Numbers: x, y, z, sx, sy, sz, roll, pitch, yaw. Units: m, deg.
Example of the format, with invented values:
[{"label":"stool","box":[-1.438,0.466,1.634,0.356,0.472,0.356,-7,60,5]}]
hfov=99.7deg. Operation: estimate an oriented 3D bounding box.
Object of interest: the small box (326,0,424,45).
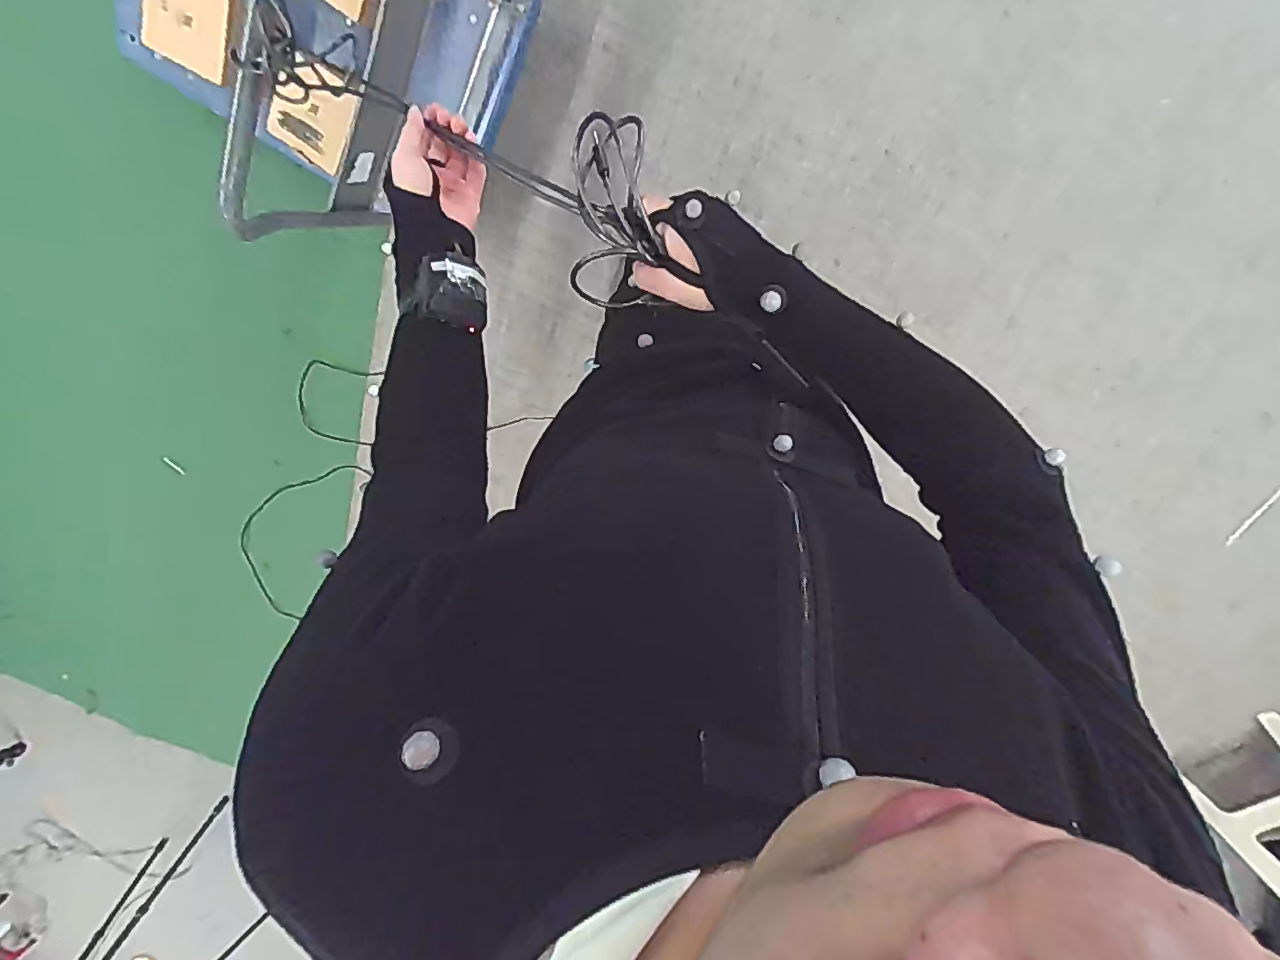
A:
[{"label":"small box","box":[-0.546,-1.002,1.057,0.179,0.176,0.168,32,116,-7]}]

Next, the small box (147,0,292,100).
[{"label":"small box","box":[-0.880,-0.940,1.144,0.179,0.176,0.168,28,116,-4]}]
